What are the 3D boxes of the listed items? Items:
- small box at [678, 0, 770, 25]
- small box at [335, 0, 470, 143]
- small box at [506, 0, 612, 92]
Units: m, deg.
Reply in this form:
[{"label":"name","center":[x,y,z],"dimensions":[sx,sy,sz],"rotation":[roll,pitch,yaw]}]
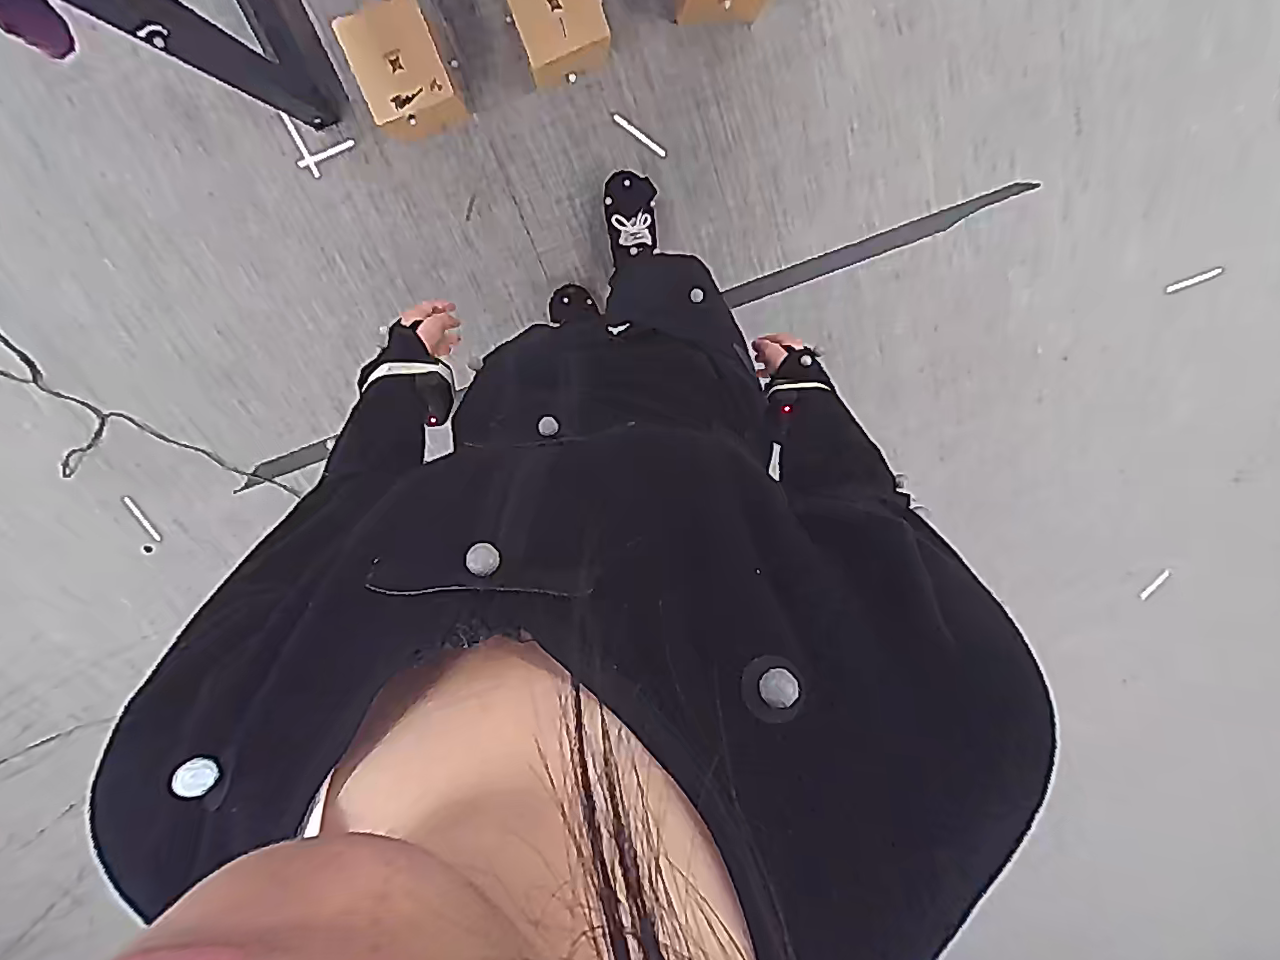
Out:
[{"label":"small box","center":[0.173,-1.033,1.067],"dimensions":[0.179,0.176,0.168],"rotation":[-4,112,-3]},{"label":"small box","center":[-0.465,-0.818,1.090],"dimensions":[0.168,0.176,0.179],"rotation":[-19,110,2]},{"label":"small box","center":[-0.166,-0.922,1.077],"dimensions":[0.168,0.176,0.179],"rotation":[-21,113,3]}]
